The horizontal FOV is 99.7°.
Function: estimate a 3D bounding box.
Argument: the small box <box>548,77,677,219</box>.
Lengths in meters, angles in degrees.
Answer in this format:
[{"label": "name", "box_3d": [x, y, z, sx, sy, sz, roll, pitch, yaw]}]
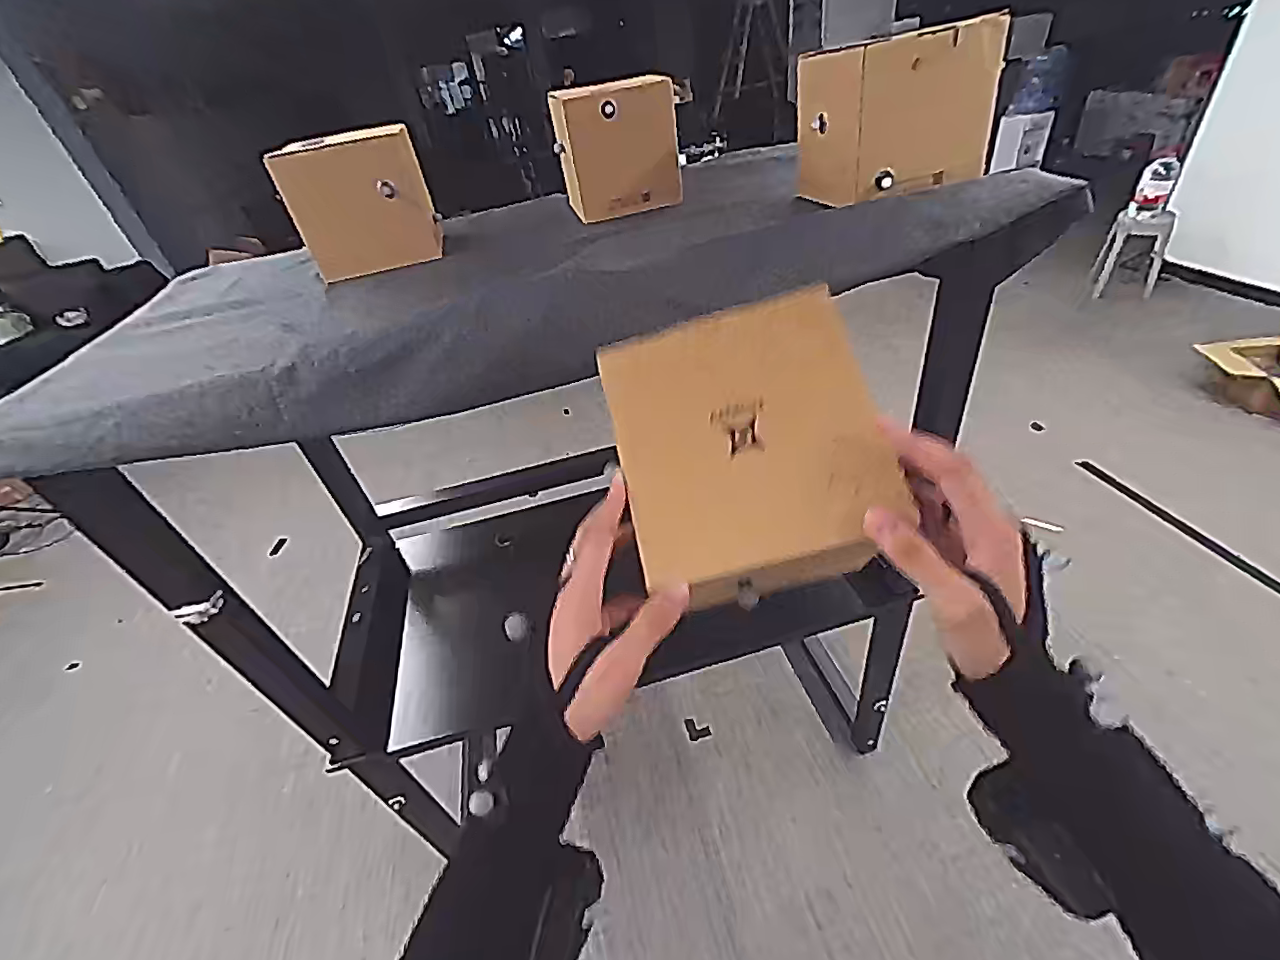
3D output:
[{"label": "small box", "box_3d": [-0.045, -0.540, 0.885, 0.168, 0.176, 0.179, -15, 38, -6]}]

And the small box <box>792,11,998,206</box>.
[{"label": "small box", "box_3d": [0.308, -0.461, 0.690, 0.168, 0.176, 0.179, -14, 34, -3]}]

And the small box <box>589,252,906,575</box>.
[{"label": "small box", "box_3d": [0.074, -0.030, 0.418, 0.168, 0.176, 0.179, -15, 70, 6]}]
